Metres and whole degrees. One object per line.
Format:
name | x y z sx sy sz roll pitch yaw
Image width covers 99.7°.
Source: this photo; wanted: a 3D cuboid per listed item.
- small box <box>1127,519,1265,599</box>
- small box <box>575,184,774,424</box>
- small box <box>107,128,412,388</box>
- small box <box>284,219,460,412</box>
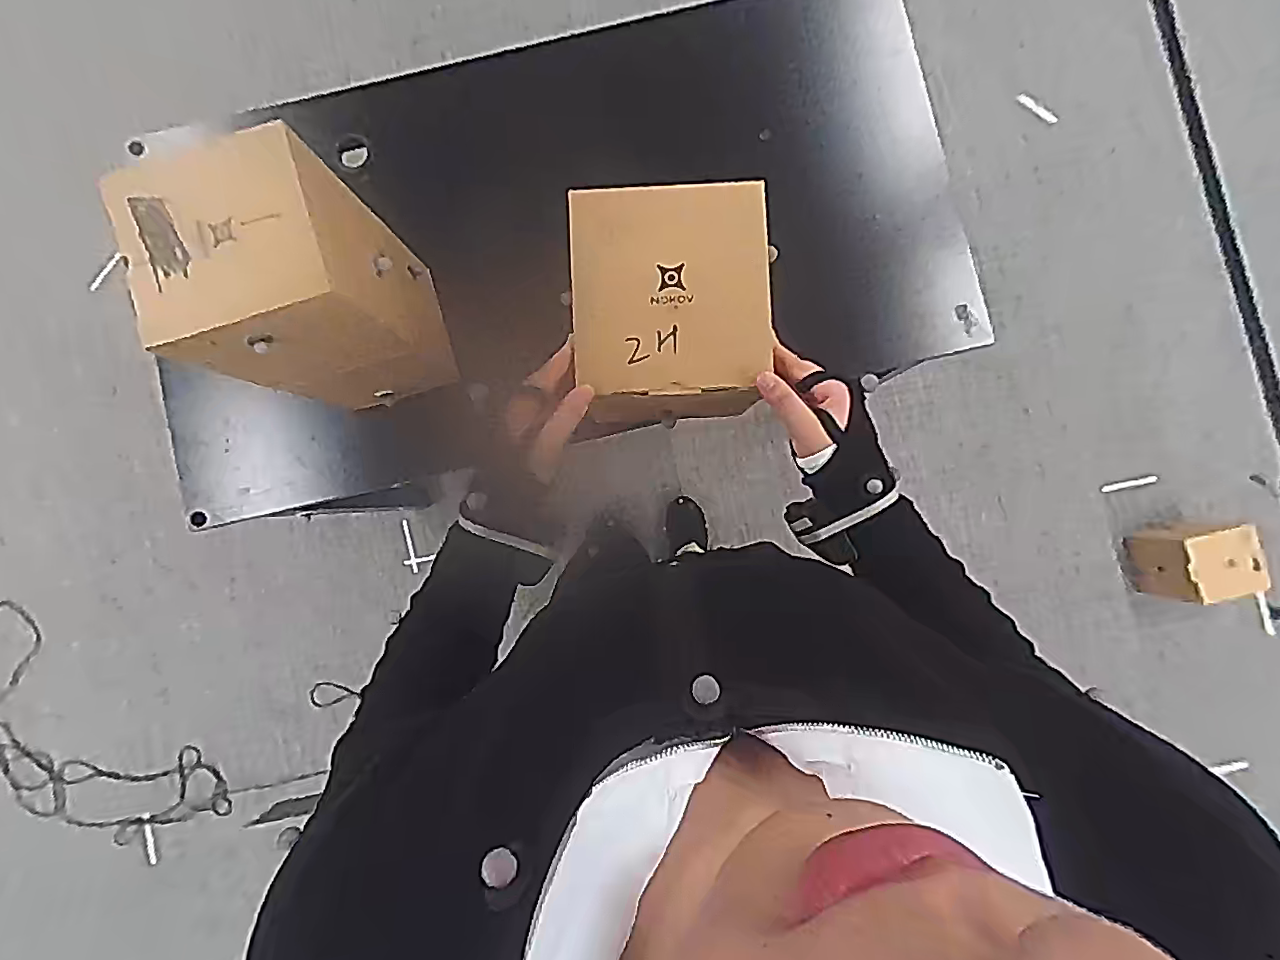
small box | 1.425 0.199 1.404 0.179 0.176 0.168 -14 87 1
small box | 0.029 -0.156 0.529 0.168 0.176 0.179 -2 88 2
small box | -0.370 -0.208 0.558 0.179 0.176 0.168 -18 87 0
small box | -0.366 -0.205 0.722 0.168 0.176 0.179 -17 88 1
